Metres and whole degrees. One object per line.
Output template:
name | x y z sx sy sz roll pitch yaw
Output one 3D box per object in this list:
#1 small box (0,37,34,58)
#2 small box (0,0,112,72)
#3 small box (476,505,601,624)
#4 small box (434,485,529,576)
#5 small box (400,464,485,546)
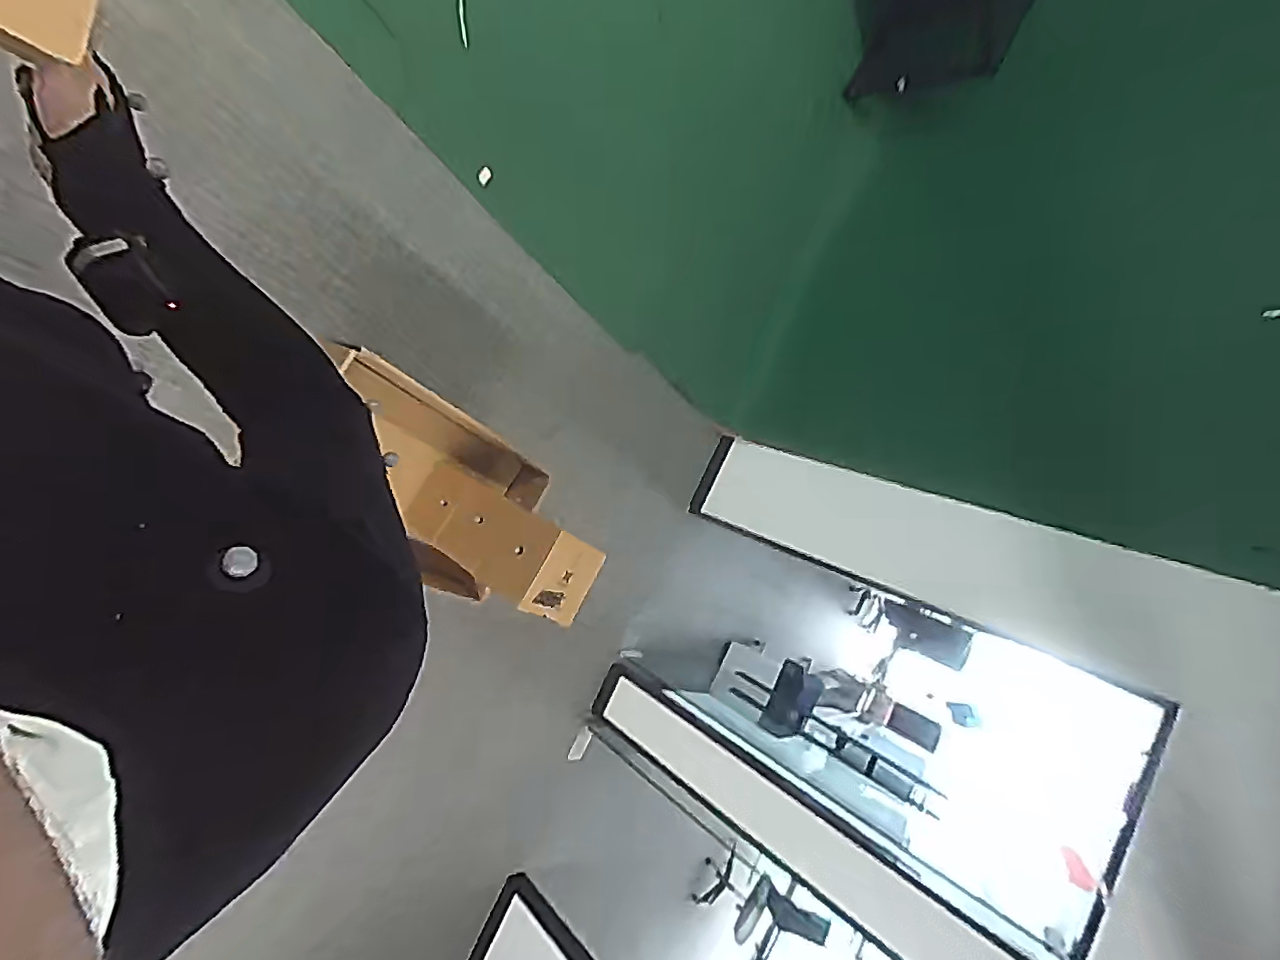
small box | -0.556 -0.455 0.393 0.179 0.176 0.168 14 105 -54
small box | -0.327 -0.307 0.212 0.179 0.176 0.168 10 108 -54
small box | -0.223 0.180 1.163 0.168 0.176 0.179 41 74 -50
small box | -0.345 0.132 1.264 0.168 0.176 0.179 42 73 -50
small box | -0.467 0.083 1.362 0.179 0.176 0.168 -59 141 -11
